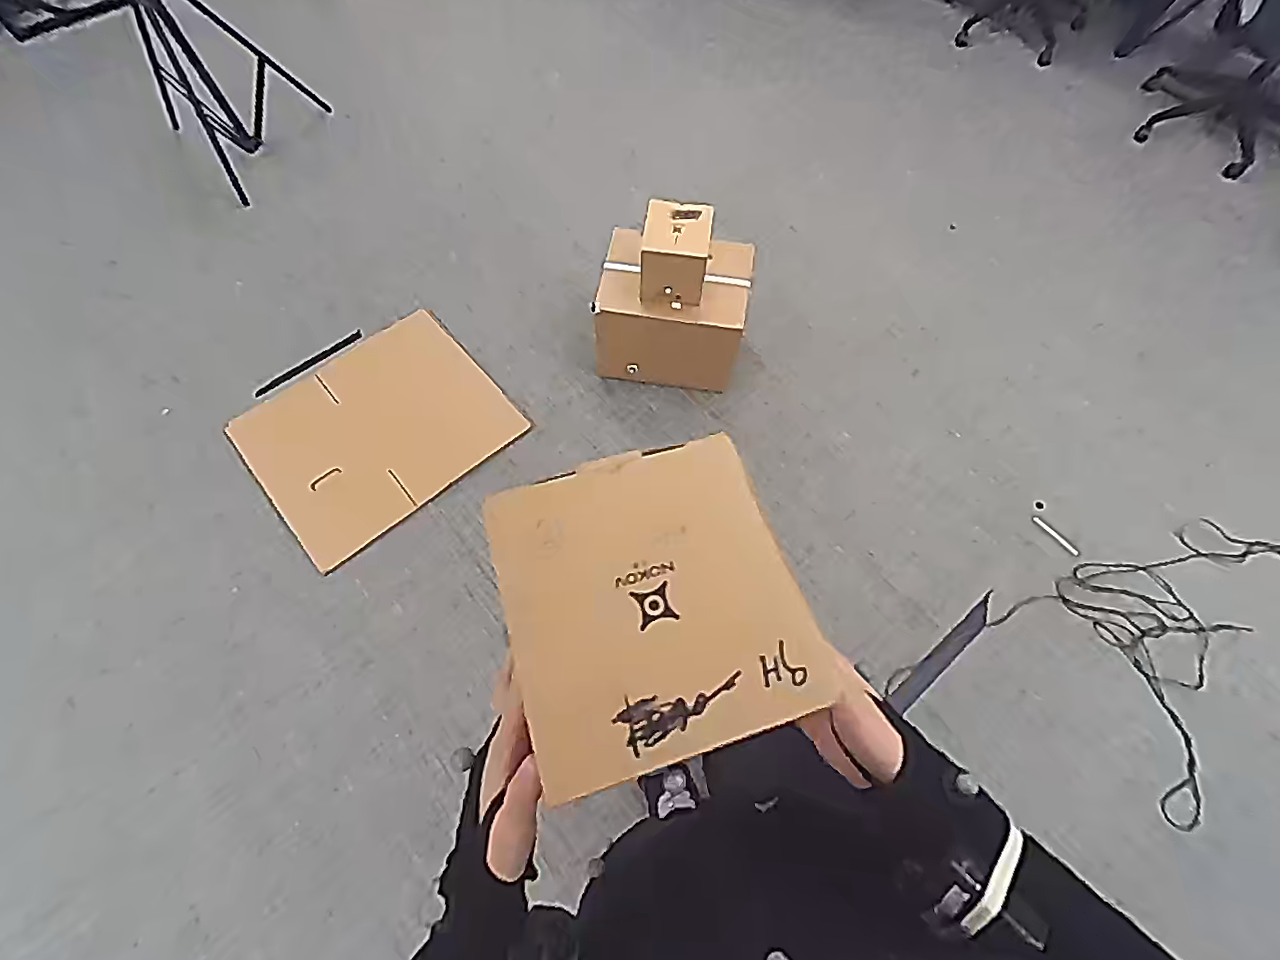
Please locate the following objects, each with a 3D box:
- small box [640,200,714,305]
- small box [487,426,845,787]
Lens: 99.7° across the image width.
[{"bbox_3d":[0.092,-0.585,1.400,0.168,0.176,0.179,7,67,3],"label":"small box"},{"bbox_3d":[0.005,0.093,0.380,0.168,0.176,0.179,-16,65,-8],"label":"small box"}]
